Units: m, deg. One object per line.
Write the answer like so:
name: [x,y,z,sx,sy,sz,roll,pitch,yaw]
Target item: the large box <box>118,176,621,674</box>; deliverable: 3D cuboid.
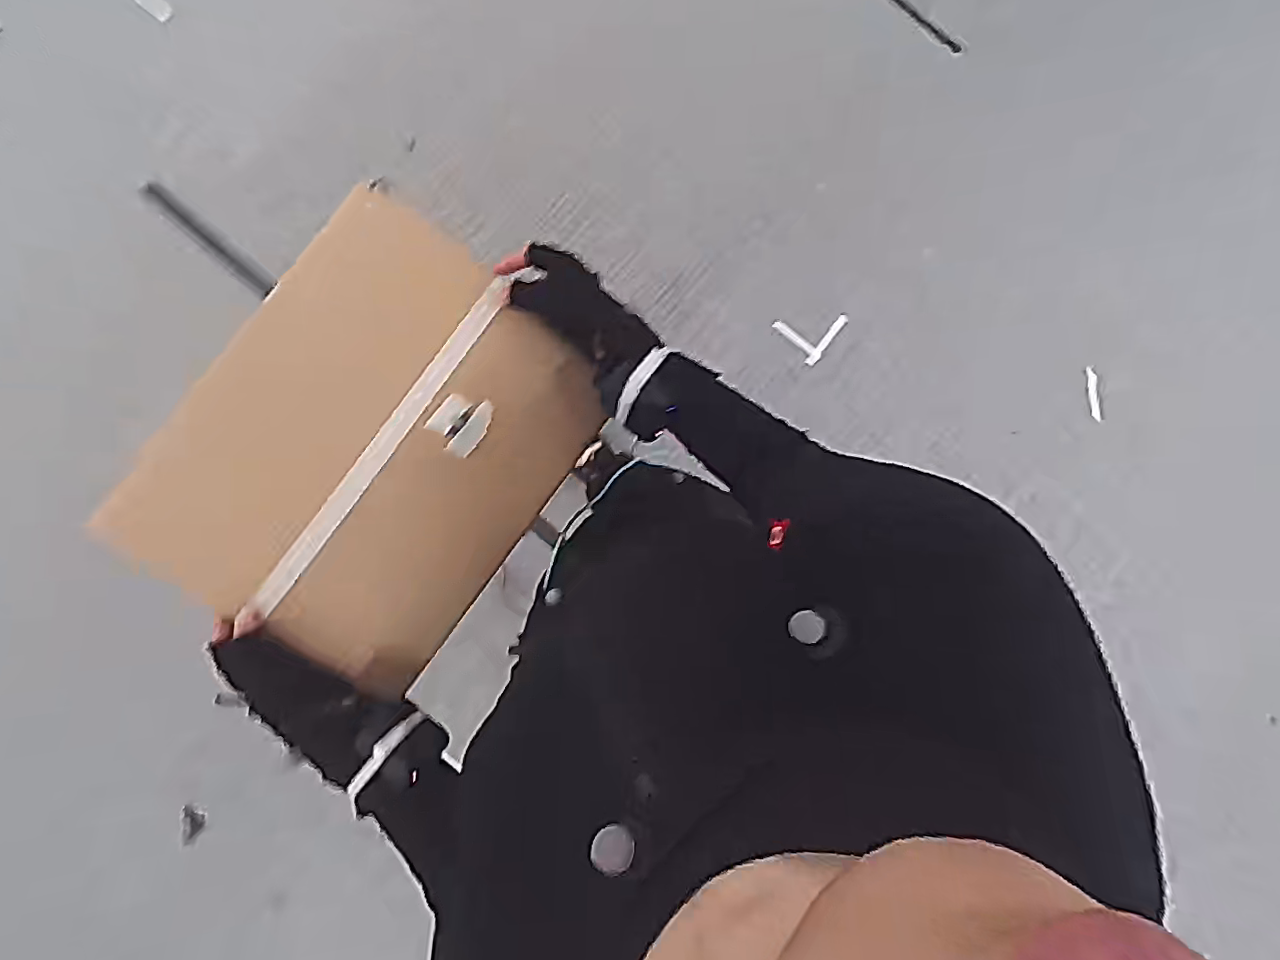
large box: [-0.278,-0.053,0.681,0.320,0.320,0.408,37,86,-11]
